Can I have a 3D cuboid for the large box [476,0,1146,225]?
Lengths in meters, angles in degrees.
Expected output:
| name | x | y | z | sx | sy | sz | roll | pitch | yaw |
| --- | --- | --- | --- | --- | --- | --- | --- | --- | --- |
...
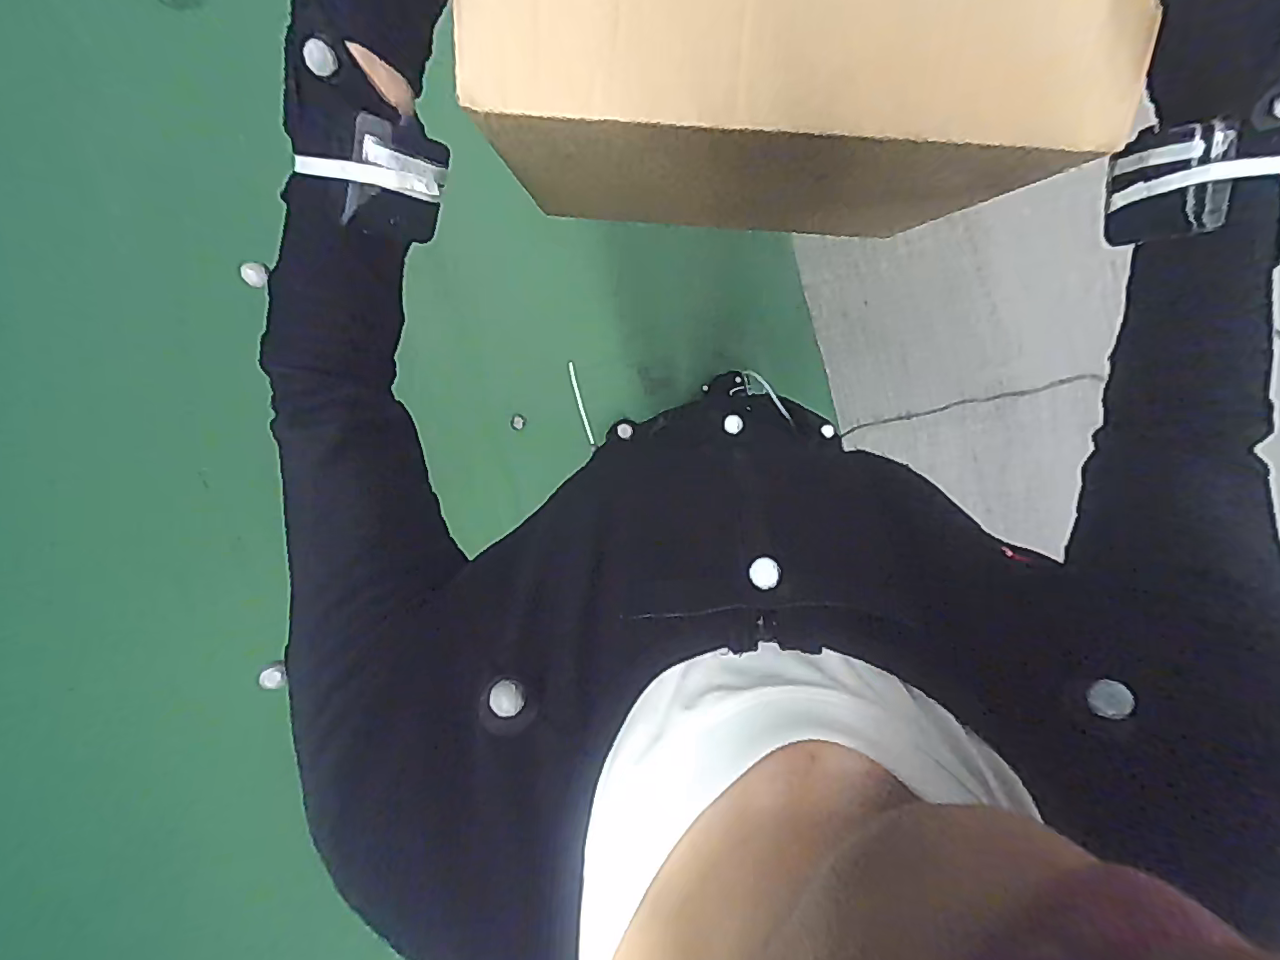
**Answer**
| name | x | y | z | sx | sy | sz | roll | pitch | yaw |
| --- | --- | --- | --- | --- | --- | --- | --- | --- | --- |
| large box | 0.102 | -0.409 | 0.438 | 0.408 | 0.320 | 0.320 | 3 | 106 | -2 |
